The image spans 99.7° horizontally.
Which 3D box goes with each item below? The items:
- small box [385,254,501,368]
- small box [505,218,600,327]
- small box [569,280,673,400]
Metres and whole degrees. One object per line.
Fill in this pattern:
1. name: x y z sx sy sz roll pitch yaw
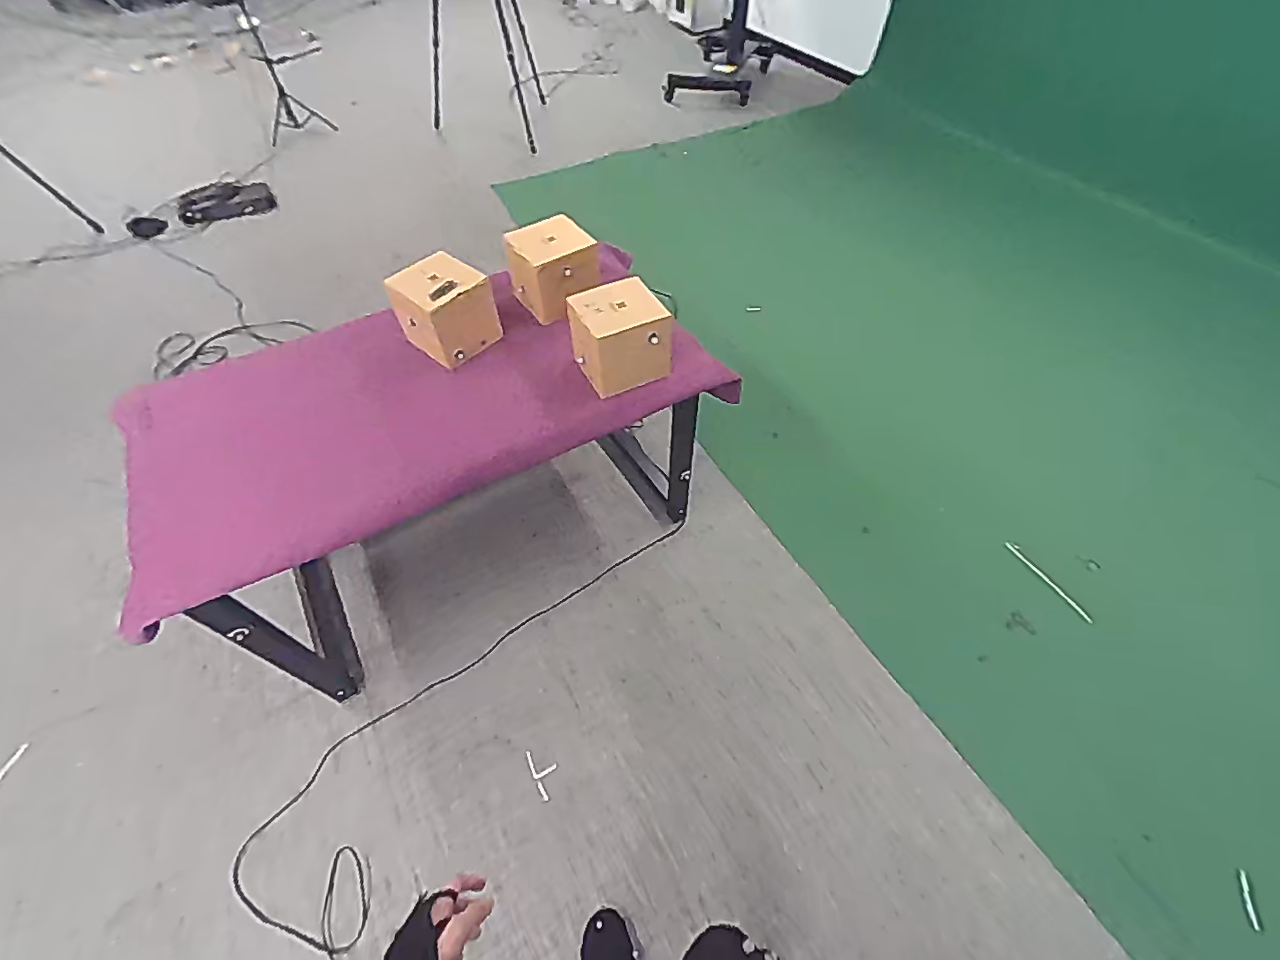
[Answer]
1. small box: -0.452 -0.390 1.268 0.179 0.176 0.168 34 61 23
2. small box: -0.212 -0.522 1.364 0.179 0.176 0.168 -31 60 -19
3. small box: -0.042 -0.309 1.201 0.179 0.176 0.168 -22 55 -14
